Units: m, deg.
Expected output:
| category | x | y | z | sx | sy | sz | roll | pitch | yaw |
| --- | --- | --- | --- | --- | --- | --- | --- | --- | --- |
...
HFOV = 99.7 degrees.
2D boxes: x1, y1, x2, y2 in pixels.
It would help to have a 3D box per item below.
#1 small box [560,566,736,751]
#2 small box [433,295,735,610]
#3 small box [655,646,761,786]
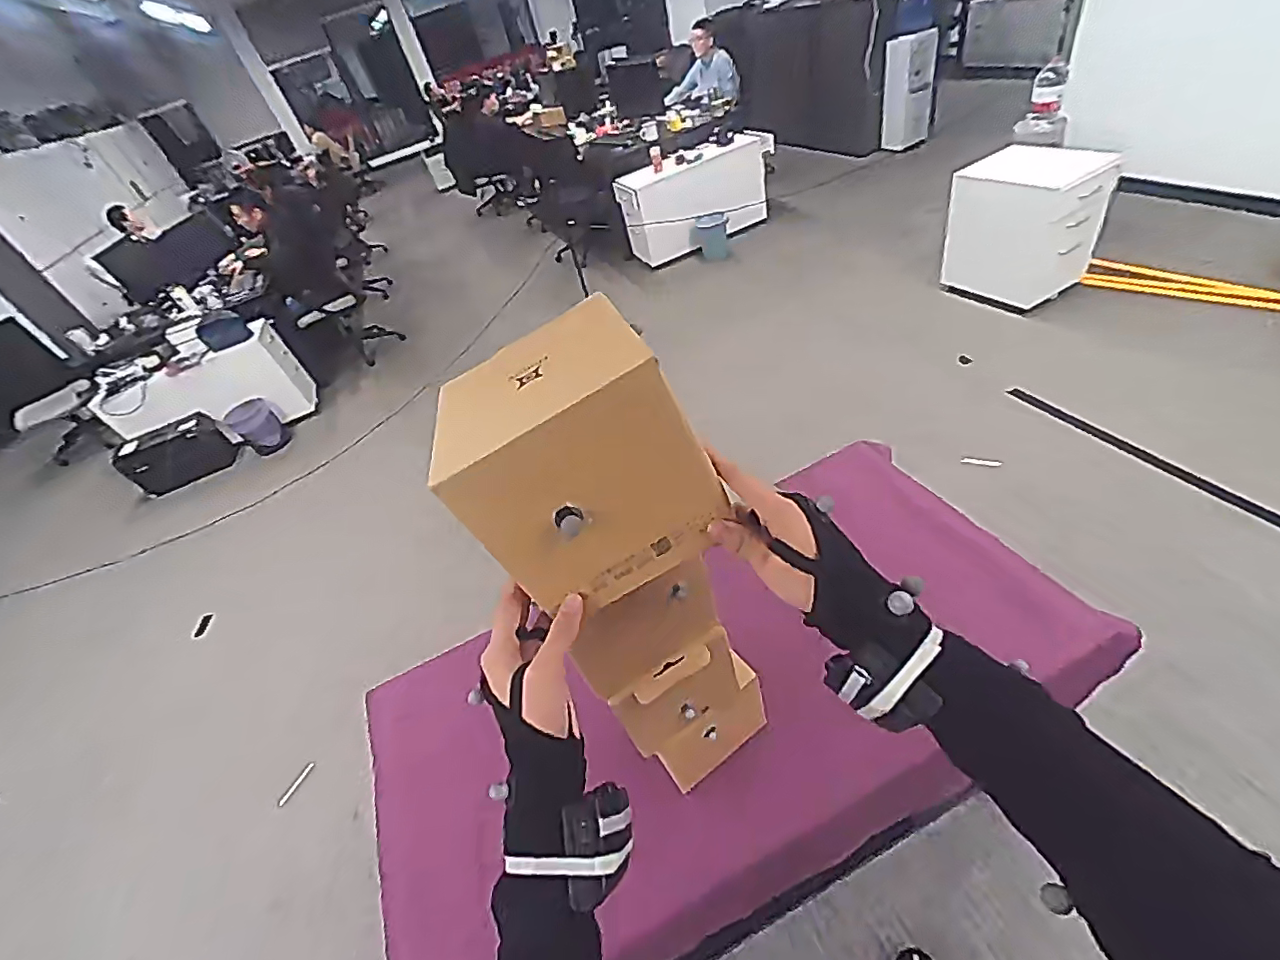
| category | x | y | z | sx | sy | sz | roll | pitch | yaw |
| --- | --- | --- | --- | --- | --- | --- | --- | --- | --- |
| small box | 0.014 | 0.238 | 0.759 | 0.168 | 0.176 | 0.179 | -30 | 43 | -12 |
| small box | -0.045 | -0.019 | 0.446 | 0.168 | 0.176 | 0.179 | -31 | 34 | 3 |
| small box | 0.075 | 0.348 | 0.867 | 0.179 | 0.176 | 0.168 | -33 | 44 | -16 |
